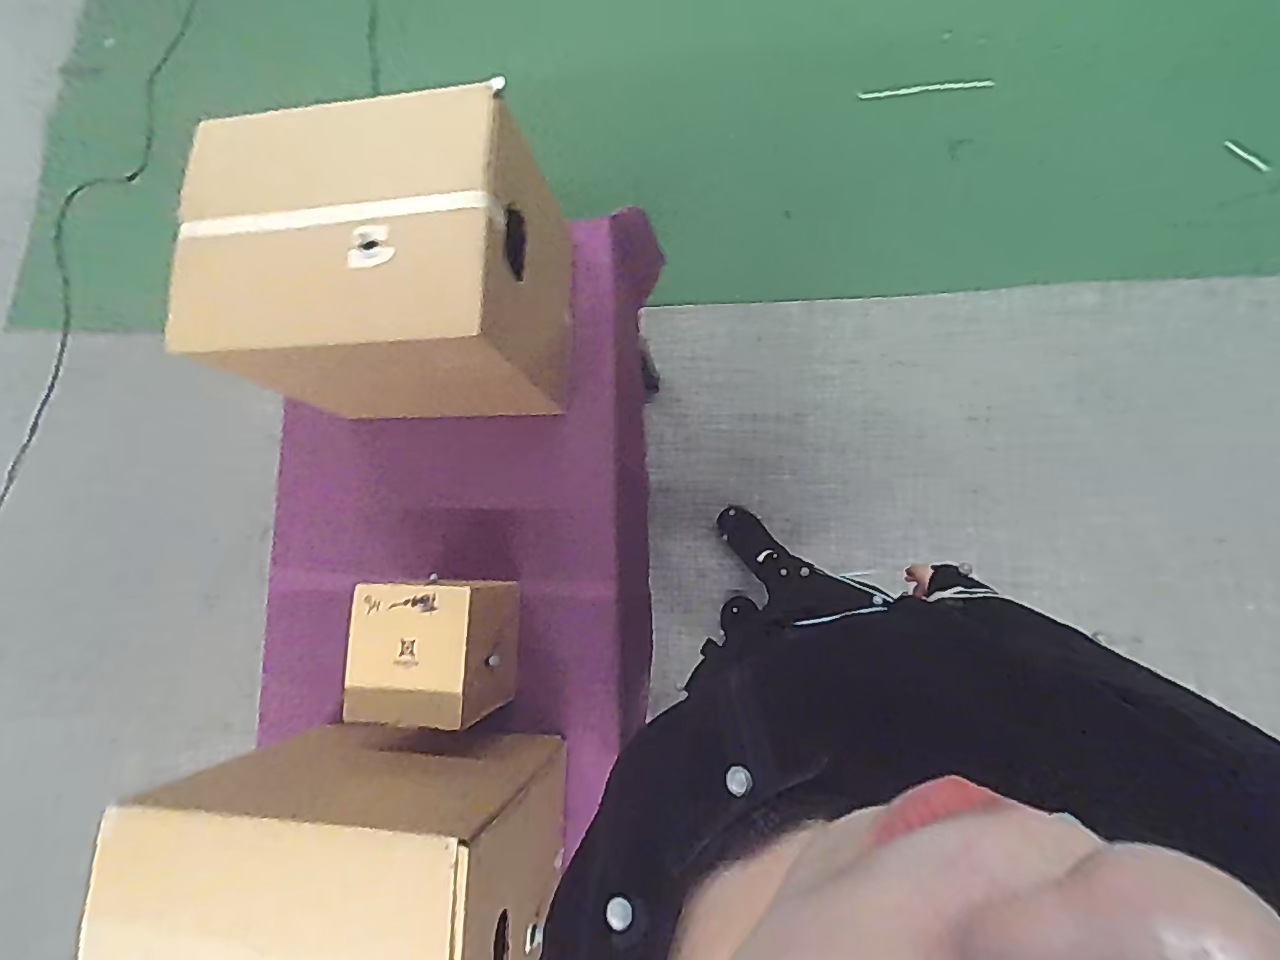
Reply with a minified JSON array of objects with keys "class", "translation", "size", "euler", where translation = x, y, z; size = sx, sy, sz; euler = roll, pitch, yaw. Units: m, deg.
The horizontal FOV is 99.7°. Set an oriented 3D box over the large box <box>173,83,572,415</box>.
[{"class":"large box","translation":[-0.336,-0.288,0.782],"size":[0.408,0.320,0.320],"euler":[0,81,8]}]
